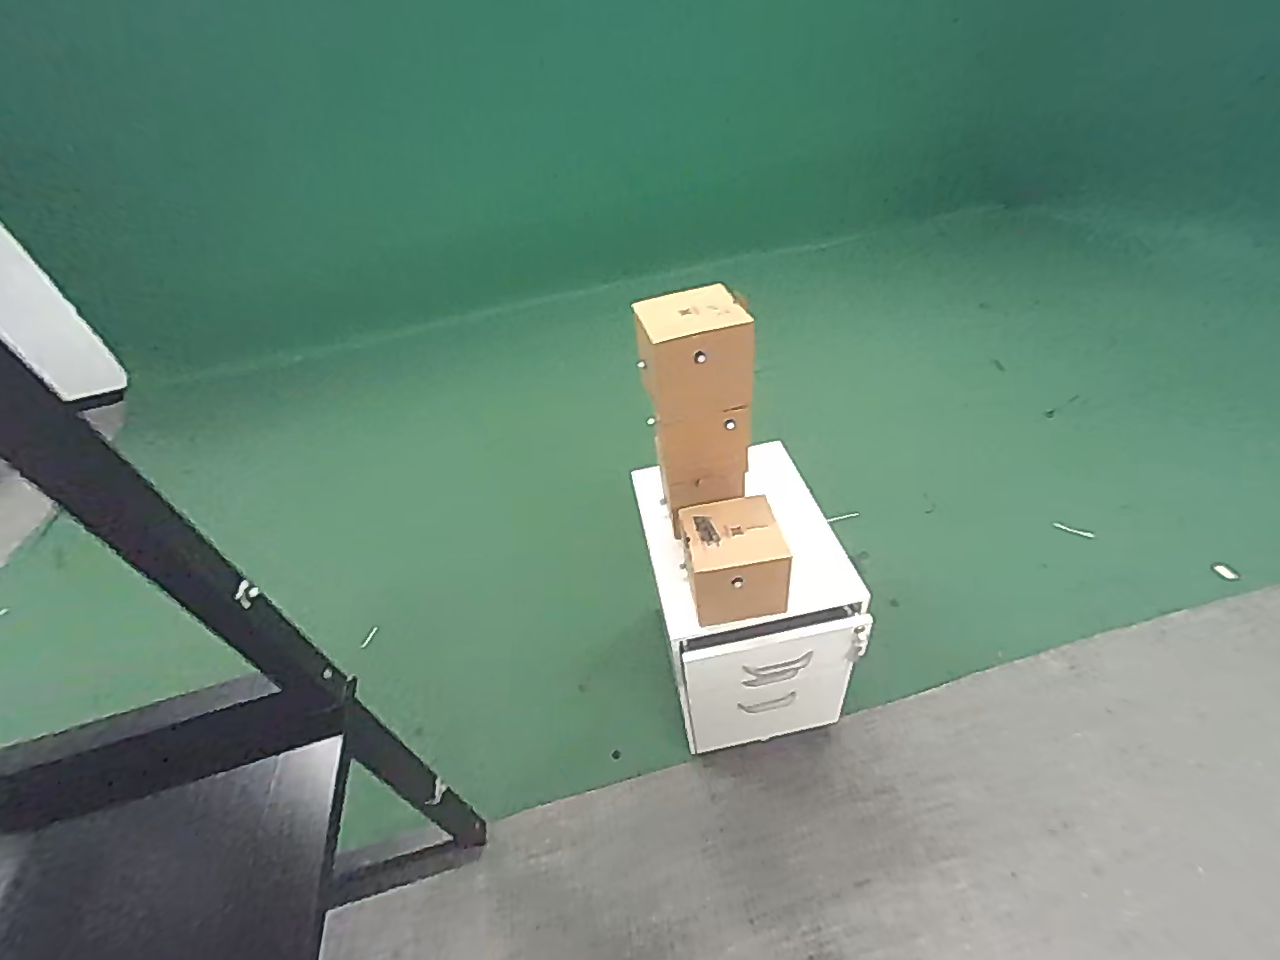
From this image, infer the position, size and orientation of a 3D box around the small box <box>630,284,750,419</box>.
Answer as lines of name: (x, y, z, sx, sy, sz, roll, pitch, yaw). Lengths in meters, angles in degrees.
small box: (0.092, -0.233, 0.990, 0.179, 0.176, 0.168, -14, 43, -6)

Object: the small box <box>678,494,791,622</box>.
small box: (0.178, 0.152, 1.036, 0.179, 0.176, 0.168, -9, 41, 0)

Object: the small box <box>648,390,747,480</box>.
small box: (0.117, -0.116, 1.104, 0.179, 0.176, 0.168, -9, 42, 0)
